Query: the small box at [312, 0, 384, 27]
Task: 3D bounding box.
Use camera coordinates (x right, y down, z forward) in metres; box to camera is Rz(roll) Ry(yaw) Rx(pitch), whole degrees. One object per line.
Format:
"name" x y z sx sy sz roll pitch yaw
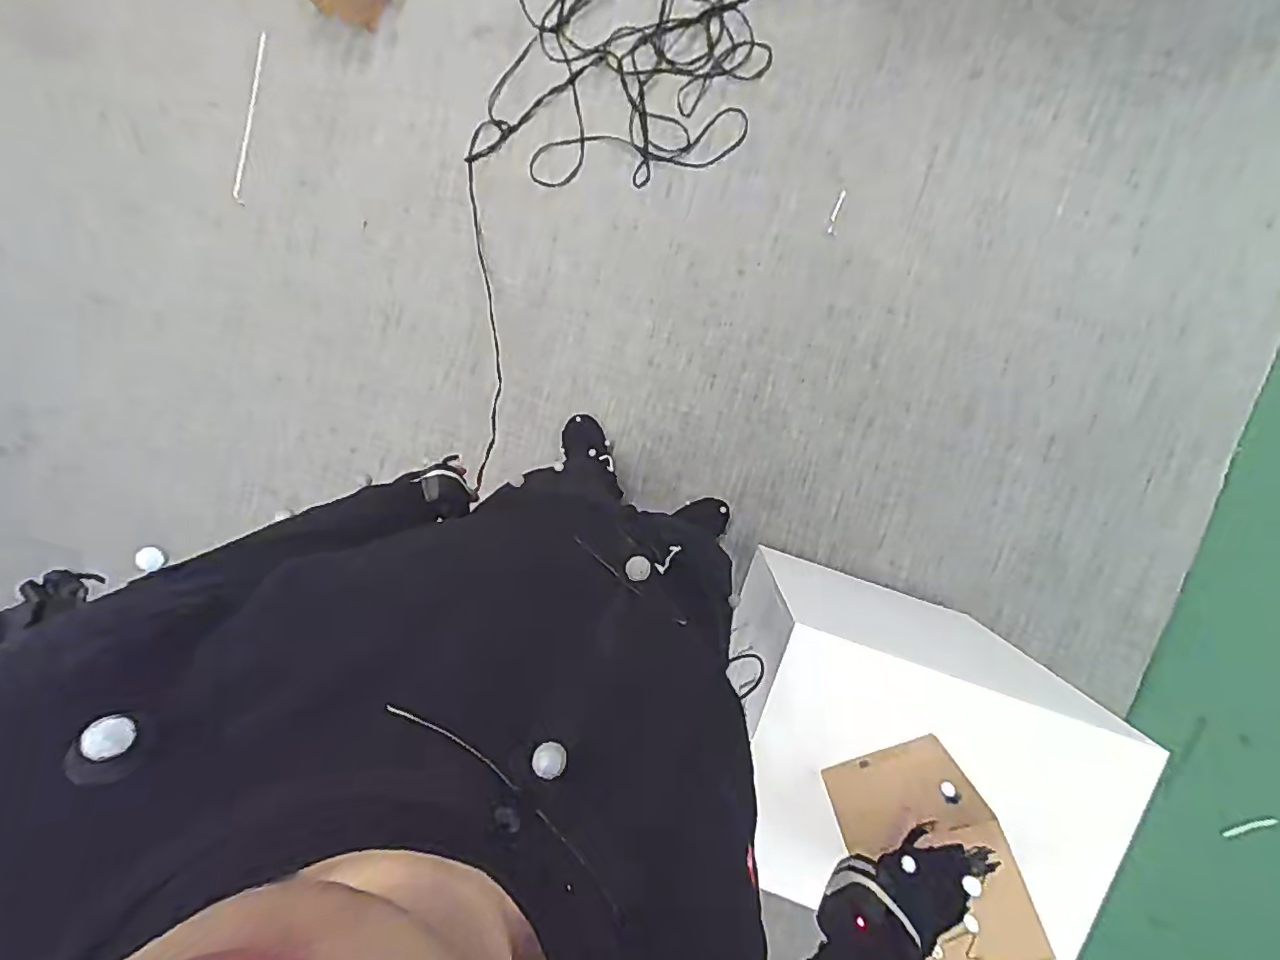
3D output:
"small box" -0.720 -1.224 1.266 0.179 0.176 0.168 27 97 3
